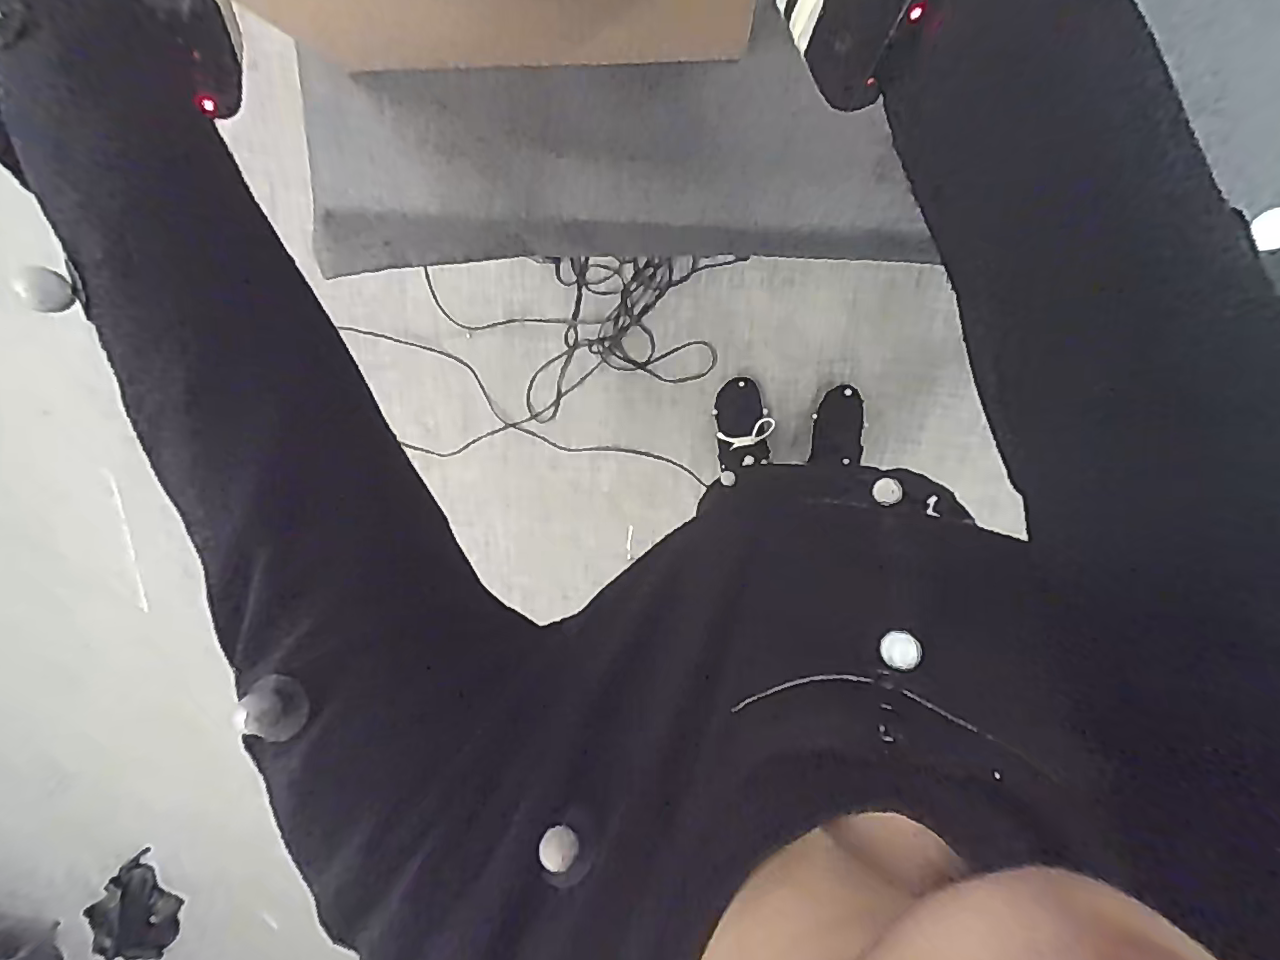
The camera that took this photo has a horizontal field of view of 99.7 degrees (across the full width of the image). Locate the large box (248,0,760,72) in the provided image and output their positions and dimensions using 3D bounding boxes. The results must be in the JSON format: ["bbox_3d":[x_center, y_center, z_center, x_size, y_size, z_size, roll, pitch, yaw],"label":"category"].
[{"bbox_3d":[-0.110,-0.501,0.334,0.408,0.320,0.320,1,109,5],"label":"large box"}]
